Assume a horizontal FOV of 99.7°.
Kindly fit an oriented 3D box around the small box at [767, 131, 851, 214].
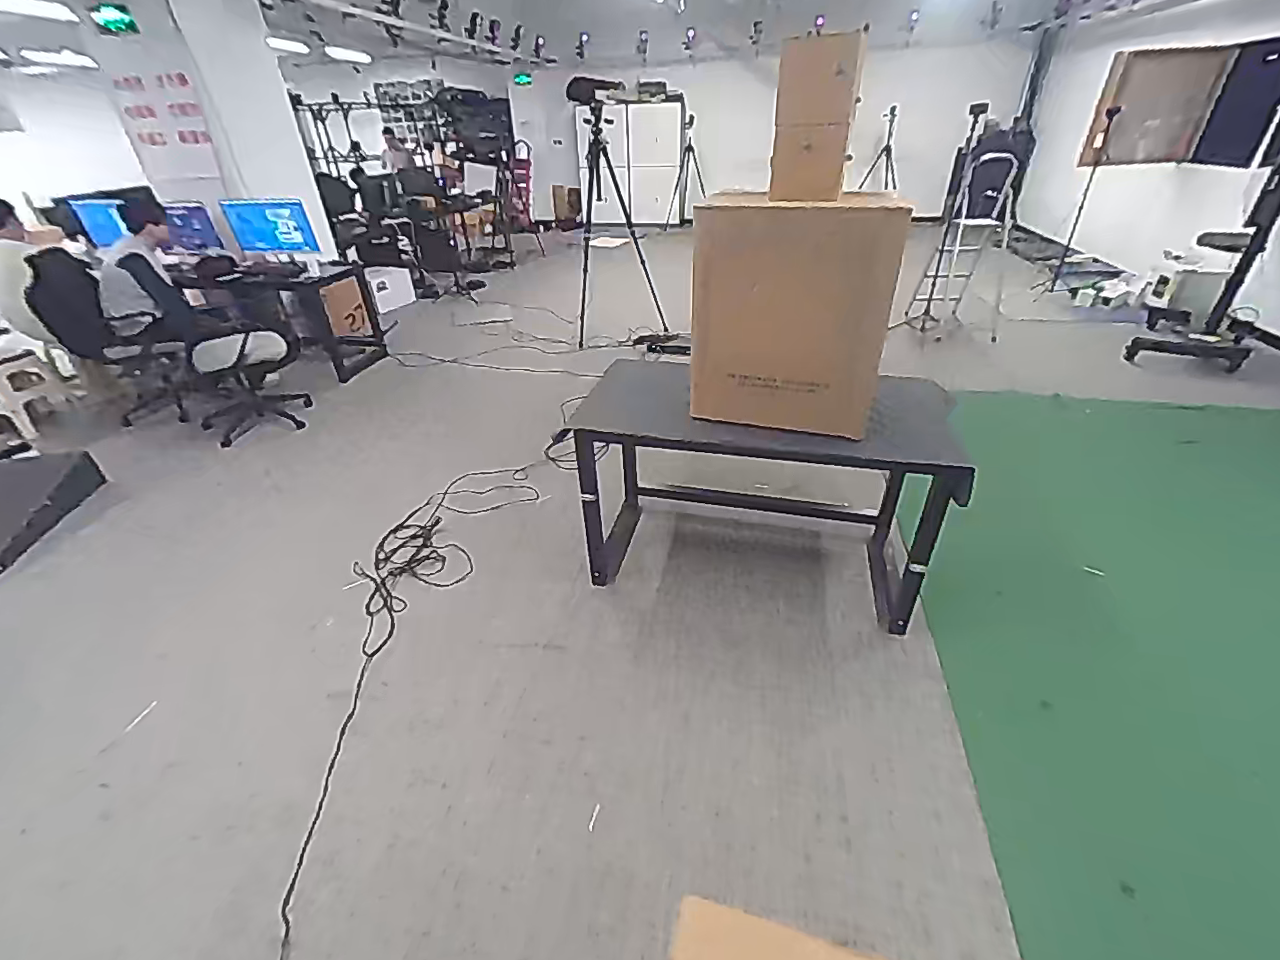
[{"bbox_3d":[0.435,-0.795,1.398,0.179,0.176,0.168,10,37,18],"label":"small box"}]
